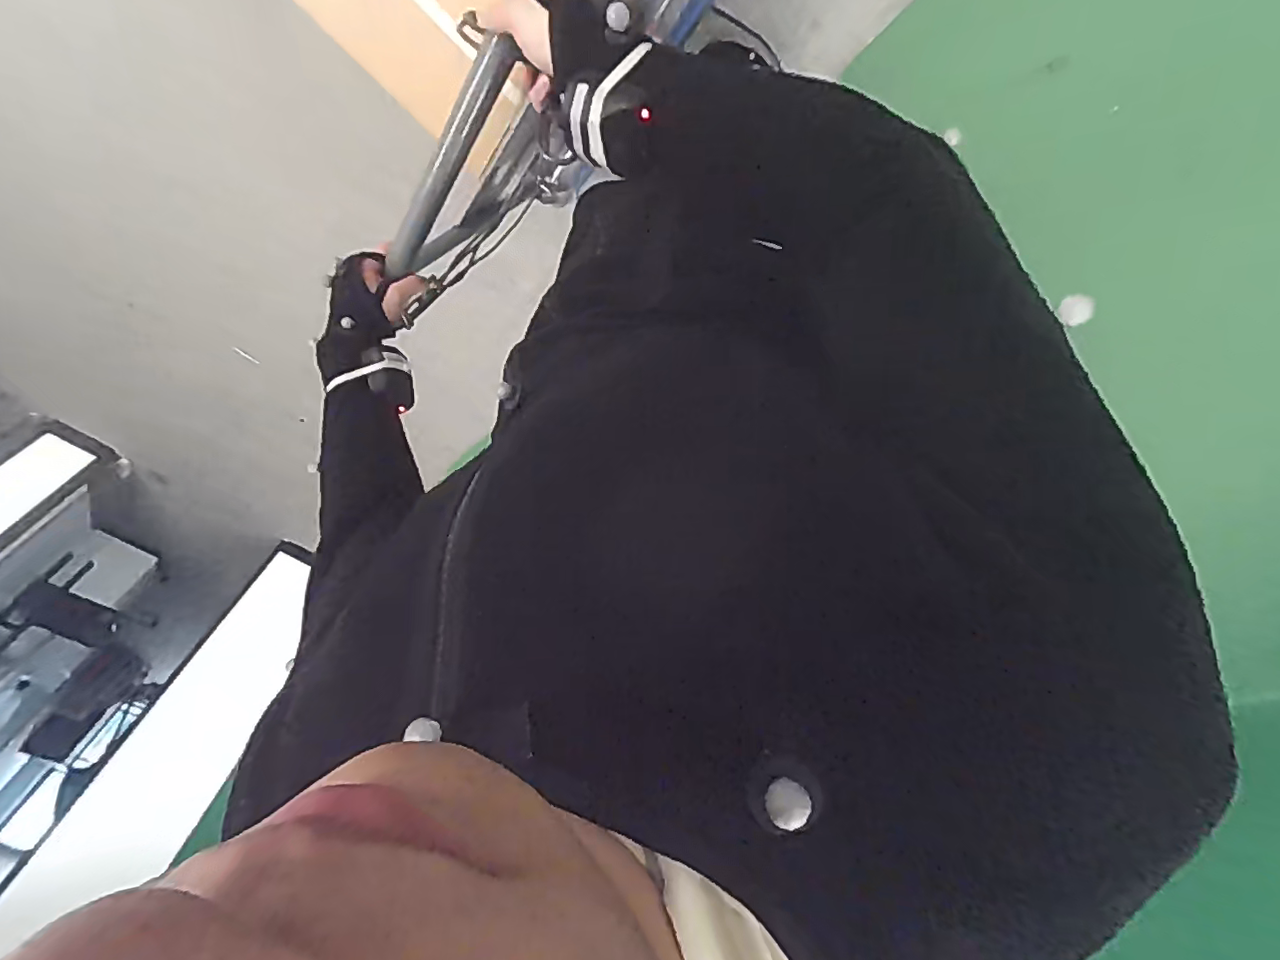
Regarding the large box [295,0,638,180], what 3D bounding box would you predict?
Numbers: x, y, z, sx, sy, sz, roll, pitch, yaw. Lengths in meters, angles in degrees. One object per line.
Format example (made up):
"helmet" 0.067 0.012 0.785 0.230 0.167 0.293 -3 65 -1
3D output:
"large box" -0.276 -0.798 0.882 0.408 0.320 0.320 42 132 -18
